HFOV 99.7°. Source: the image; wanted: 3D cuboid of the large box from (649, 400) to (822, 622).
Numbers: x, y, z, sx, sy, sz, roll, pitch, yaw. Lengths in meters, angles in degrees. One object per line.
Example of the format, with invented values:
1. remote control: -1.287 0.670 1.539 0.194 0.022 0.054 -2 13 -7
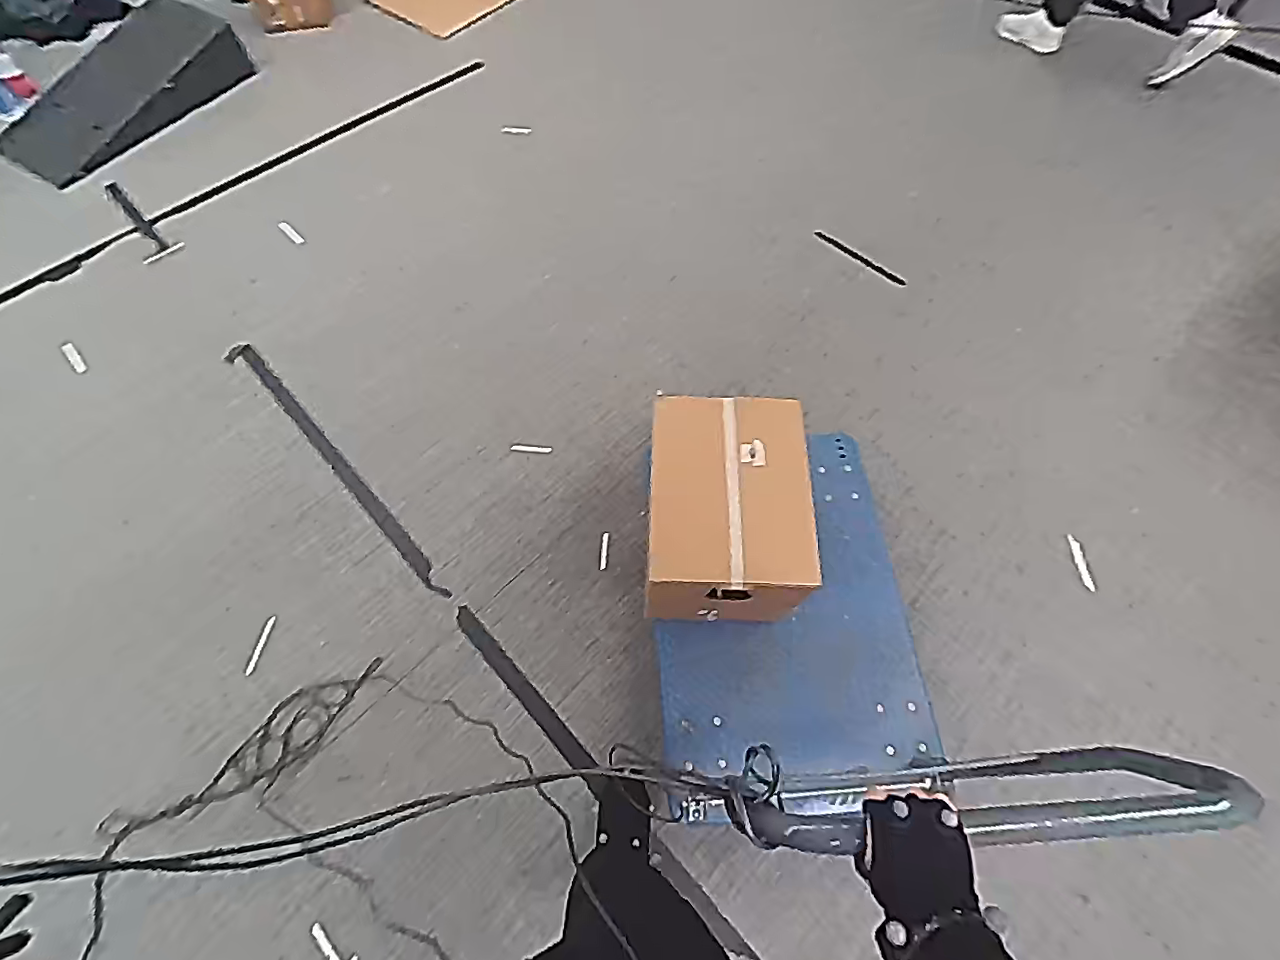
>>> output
1. large box: 0.177 0.079 1.186 0.320 0.320 0.408 2 63 0
